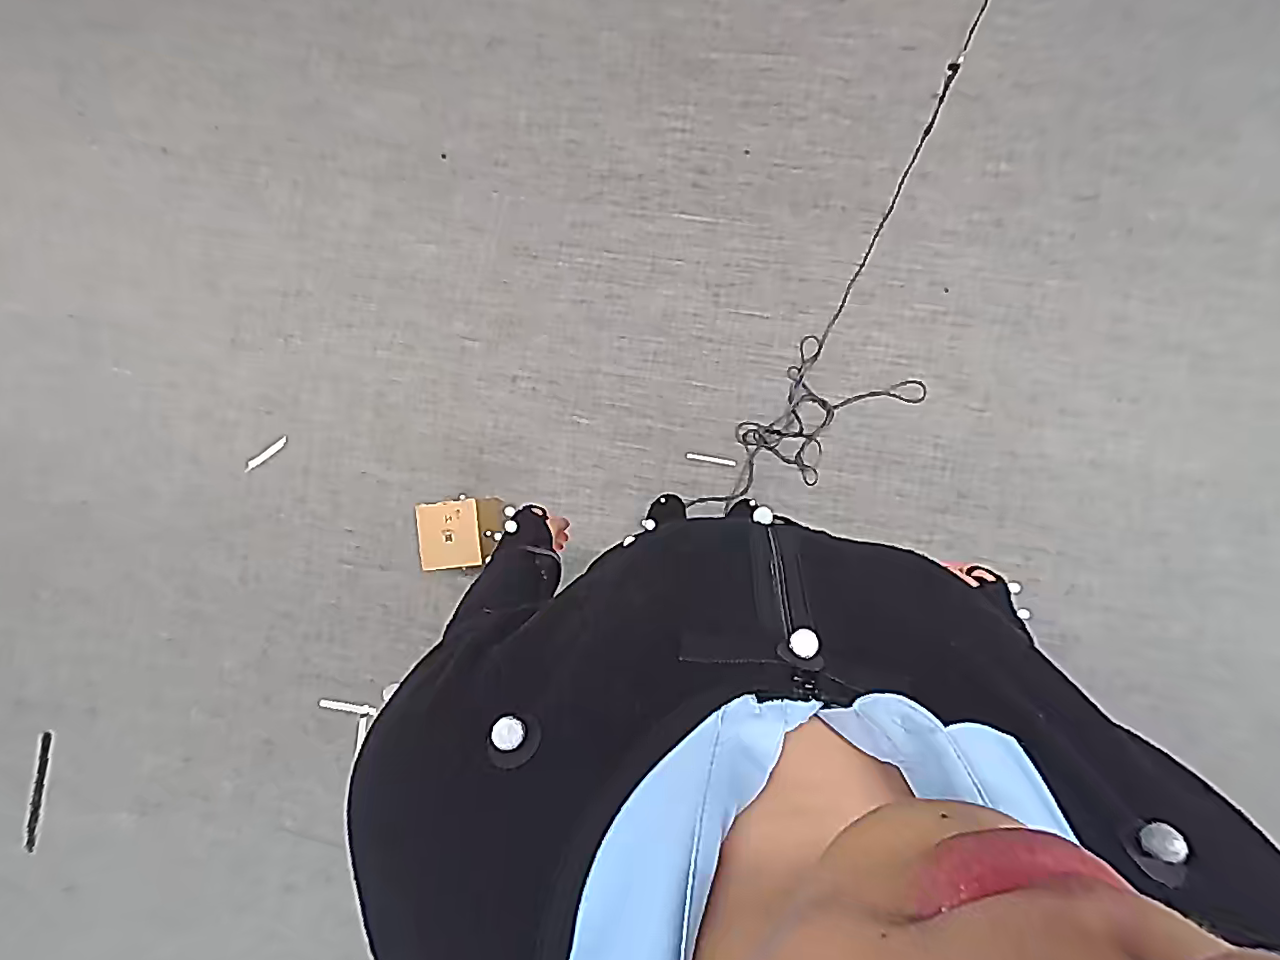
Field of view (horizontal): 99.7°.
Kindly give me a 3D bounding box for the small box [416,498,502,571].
[{"bbox_3d":[-0.486,0.143,1.476,0.168,0.176,0.179,-7,88,5],"label":"small box"}]
